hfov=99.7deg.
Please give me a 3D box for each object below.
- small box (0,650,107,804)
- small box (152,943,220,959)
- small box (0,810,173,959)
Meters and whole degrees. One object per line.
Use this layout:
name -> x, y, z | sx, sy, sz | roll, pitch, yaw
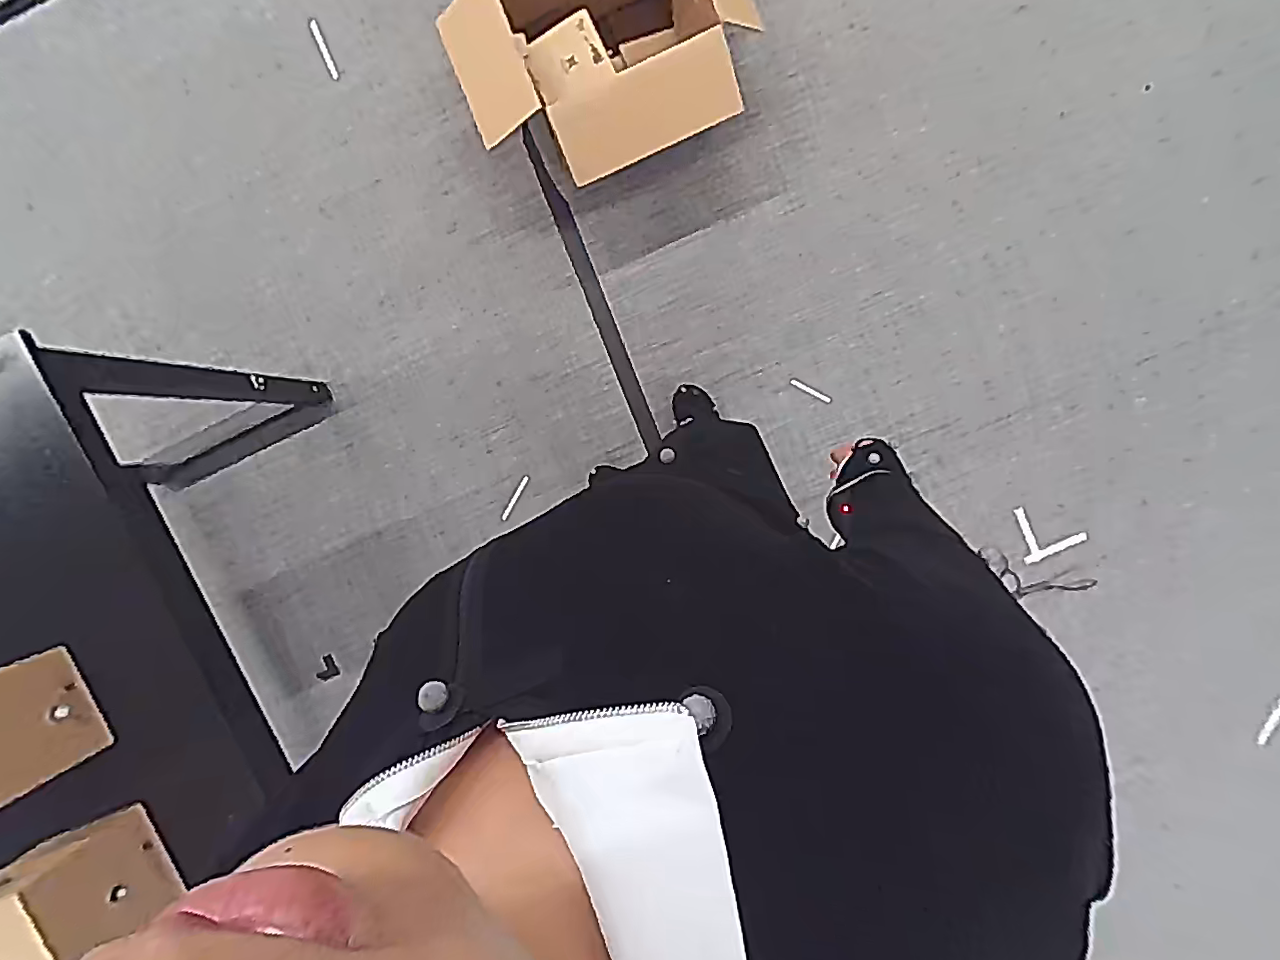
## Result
small box -> -0.912, 0.363, 0.739 | 0.179, 0.176, 0.168 | -23, 95, 3
small box -> -0.722, 0.829, 0.779 | 0.179, 0.176, 0.168 | -24, 93, 5
small box -> -0.816, 0.610, 0.759 | 0.179, 0.176, 0.168 | -23, 94, 4
